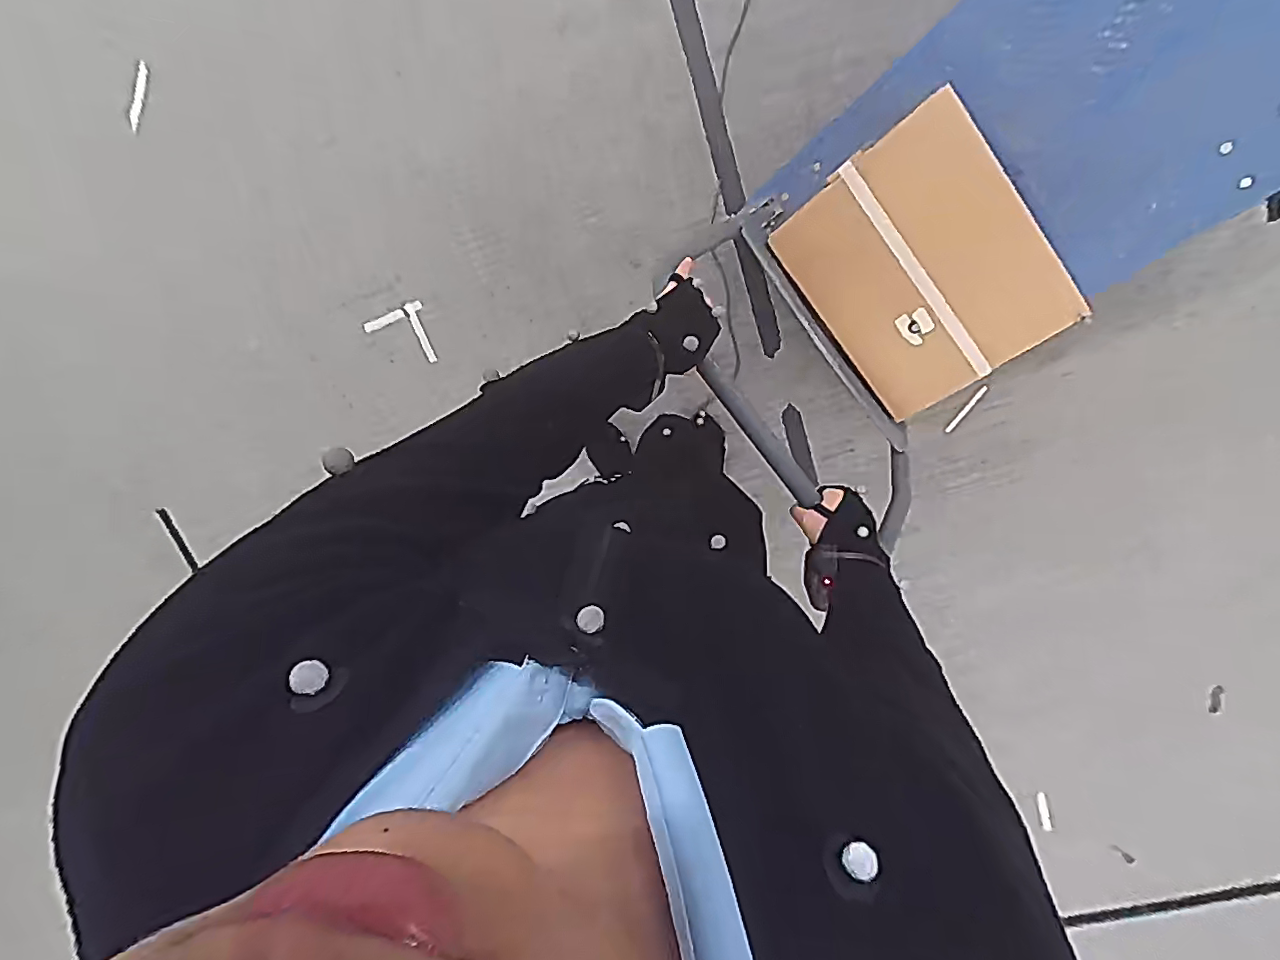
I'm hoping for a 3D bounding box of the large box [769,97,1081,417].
[{"bbox_3d":[0.496,-0.399,1.008,0.320,0.320,0.408,-34,101,32],"label":"large box"}]
